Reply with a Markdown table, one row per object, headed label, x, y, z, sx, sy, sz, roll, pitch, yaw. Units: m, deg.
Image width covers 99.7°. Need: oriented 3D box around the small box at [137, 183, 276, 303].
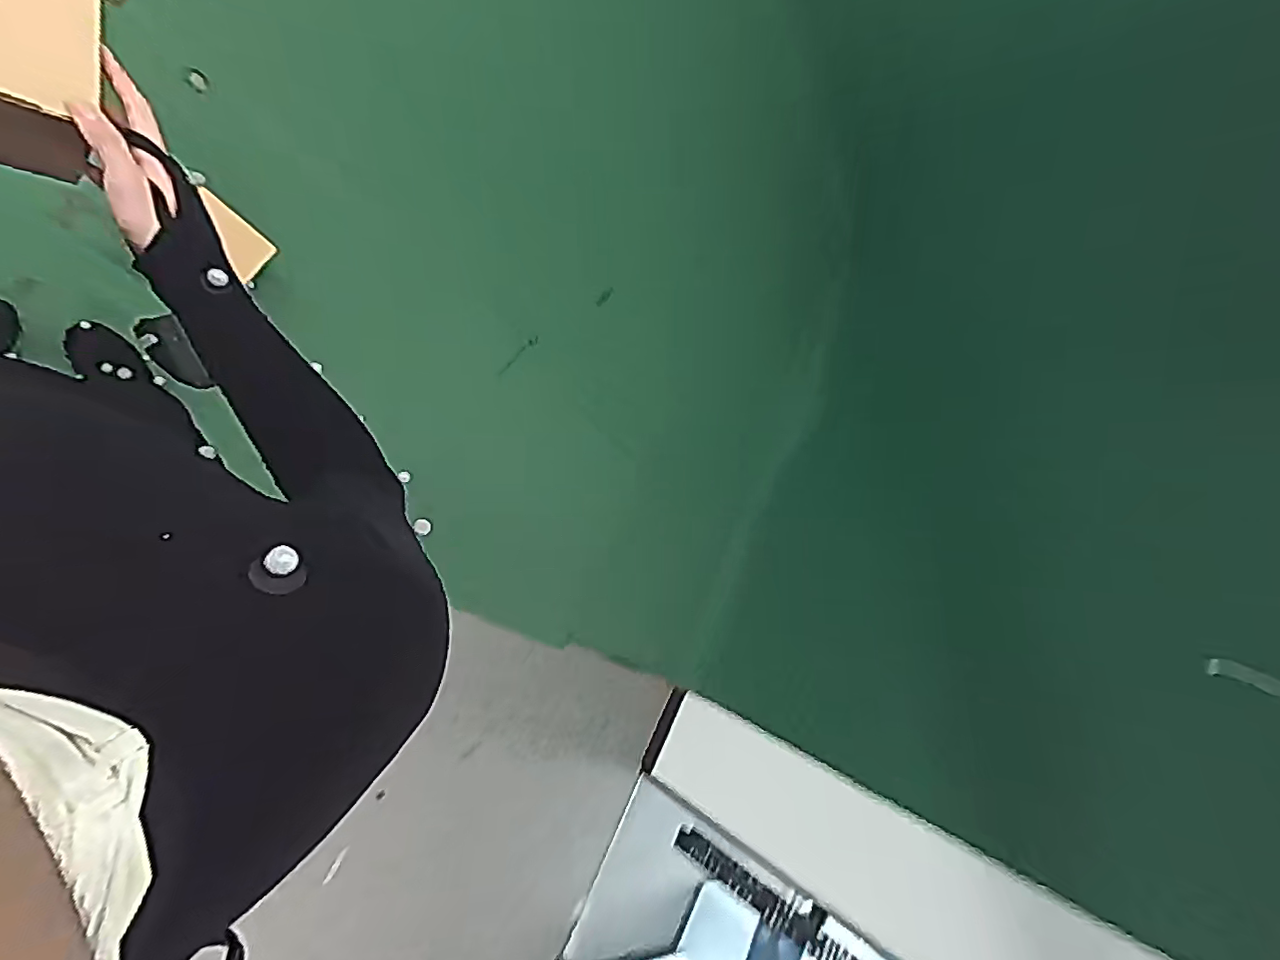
| label | x | y | z | sx | sy | sz | roll | pitch | yaw |
| --- | --- | --- | --- | --- | --- | --- | --- | --- | --- |
| small box | -0.957 | -0.513 | 1.189 | 0.168 | 0.176 | 0.179 | 46 | 68 | -44 |
